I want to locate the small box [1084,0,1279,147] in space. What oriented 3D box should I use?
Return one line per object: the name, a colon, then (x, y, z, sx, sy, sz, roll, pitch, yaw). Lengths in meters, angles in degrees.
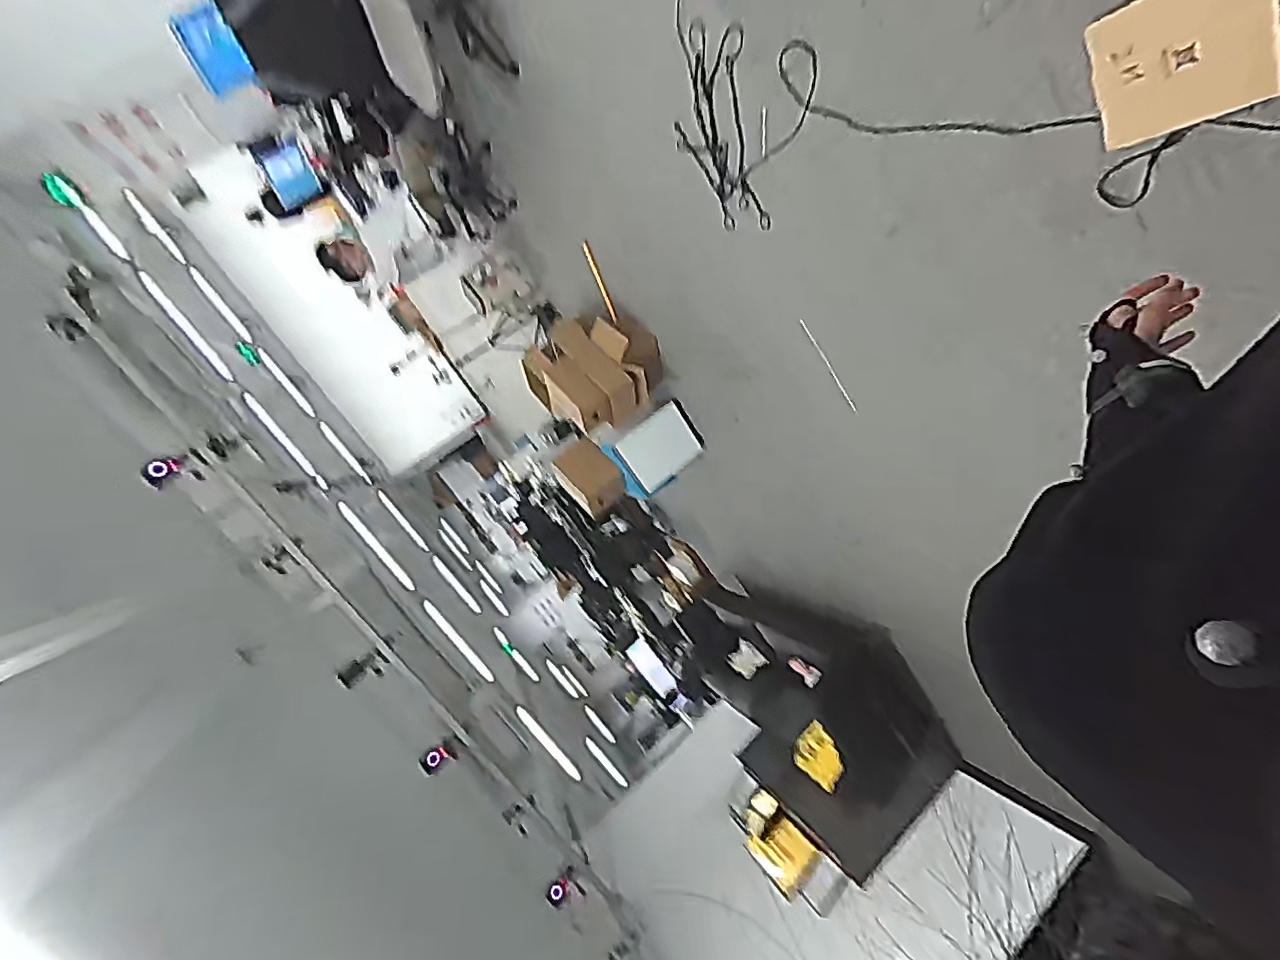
small box: (0.720, -0.571, 0.681, 0.168, 0.176, 0.179, 58, 165, -21)
